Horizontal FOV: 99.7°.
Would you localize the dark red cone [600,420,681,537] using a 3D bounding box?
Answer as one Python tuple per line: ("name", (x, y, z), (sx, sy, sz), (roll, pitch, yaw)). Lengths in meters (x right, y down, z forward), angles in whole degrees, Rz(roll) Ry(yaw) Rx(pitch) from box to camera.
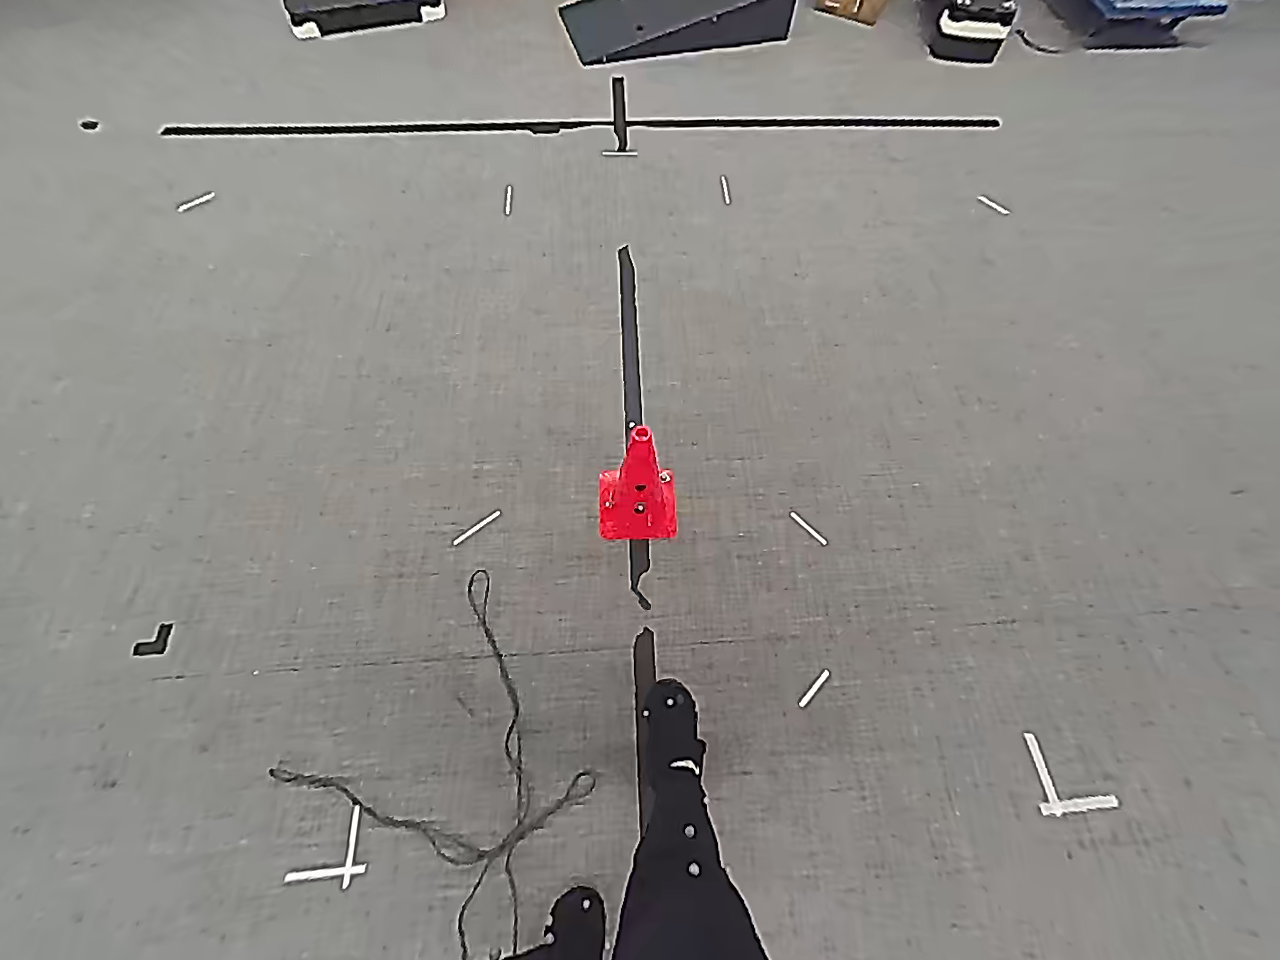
("dark red cone", (0.002, -0.021, 1.250), (0.201, 0.394, 0.202), (-3, 64, -2))
